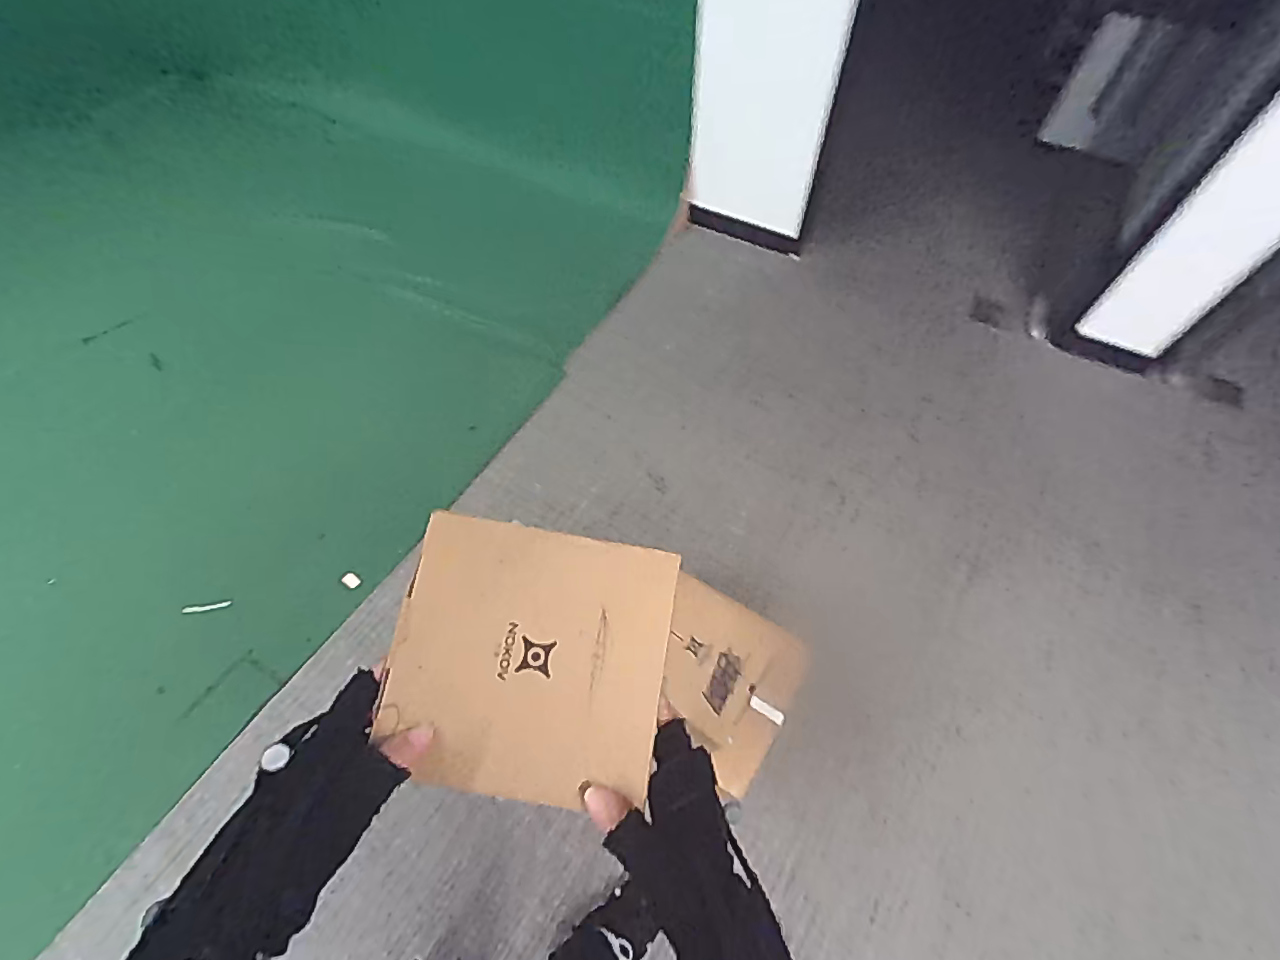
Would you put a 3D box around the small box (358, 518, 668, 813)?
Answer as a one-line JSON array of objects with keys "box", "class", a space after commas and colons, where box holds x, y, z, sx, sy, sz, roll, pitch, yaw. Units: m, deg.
[{"box": [-0.080, 0.135, 0.425, 0.179, 0.176, 0.168, 7, 75, -2], "class": "small box"}]

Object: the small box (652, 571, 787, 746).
[{"box": [0.090, 0.270, 0.801, 0.179, 0.176, 0.168, 30, 66, 20], "class": "small box"}]
